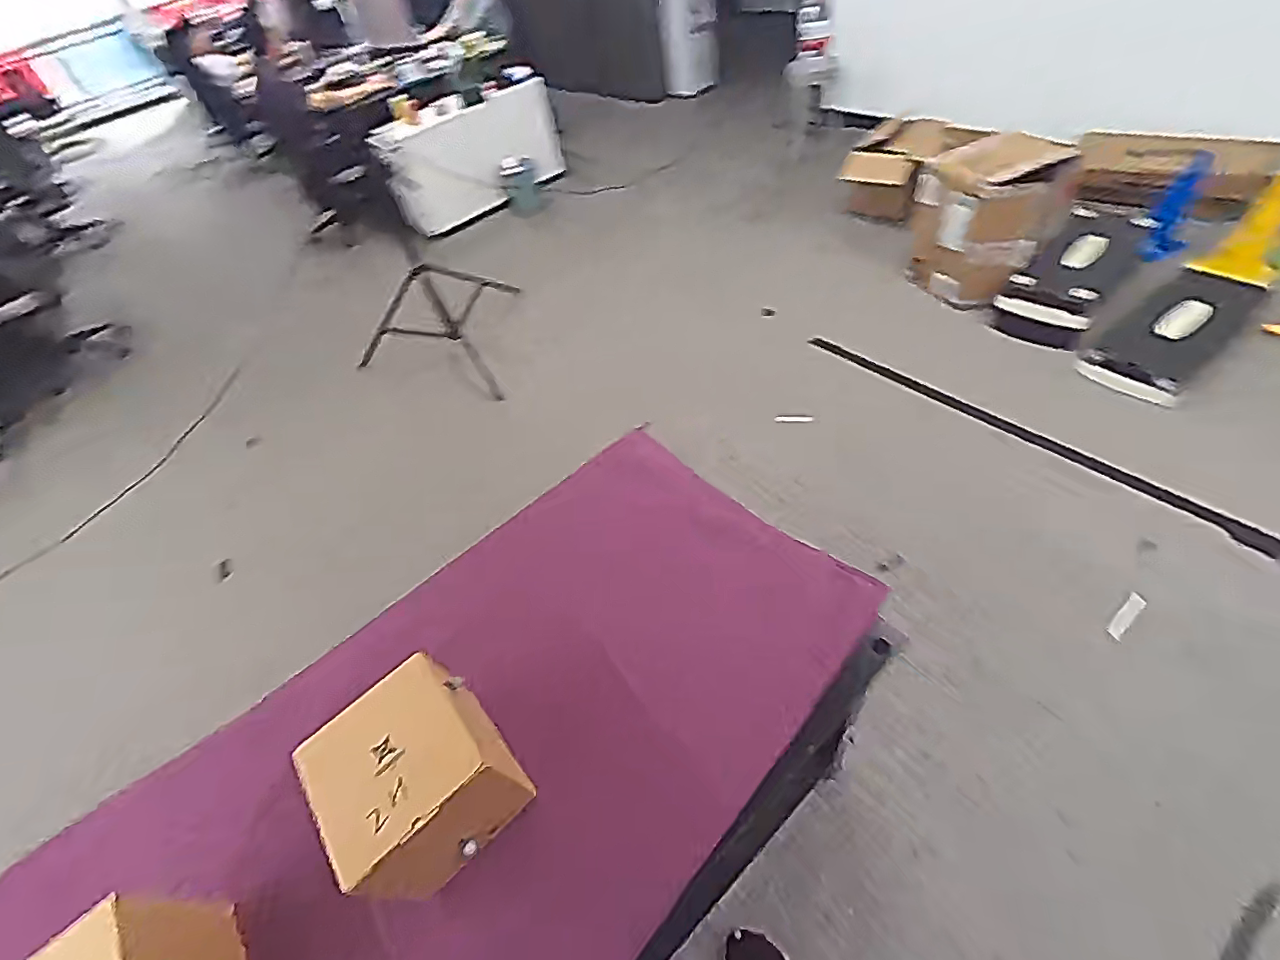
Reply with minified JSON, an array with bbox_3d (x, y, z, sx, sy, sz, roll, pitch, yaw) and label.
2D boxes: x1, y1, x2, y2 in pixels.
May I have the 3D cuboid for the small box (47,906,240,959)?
[{"bbox_3d":[-0.518,0.569,0.526,0.168,0.176,0.179,-39,54,-21],"label":"small box"}]

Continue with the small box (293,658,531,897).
[{"bbox_3d":[-0.261,0.356,0.644,0.168,0.176,0.179,-40,53,-19],"label":"small box"}]
